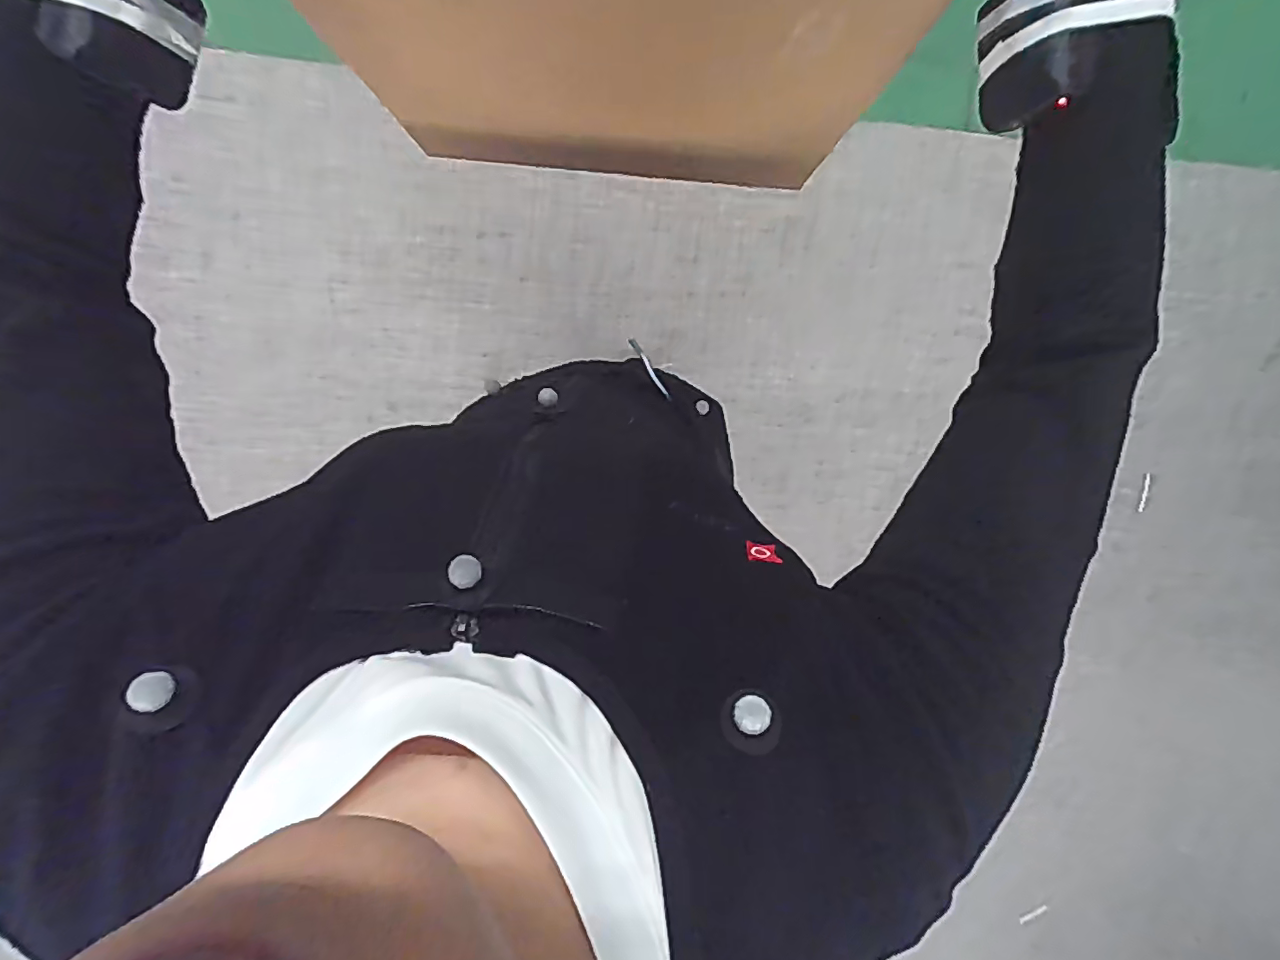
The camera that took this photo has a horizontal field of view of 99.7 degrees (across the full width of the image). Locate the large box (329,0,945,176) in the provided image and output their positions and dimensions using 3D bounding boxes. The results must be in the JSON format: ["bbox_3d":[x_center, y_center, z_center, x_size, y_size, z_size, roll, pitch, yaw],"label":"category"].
[{"bbox_3d":[-0.006,-0.463,0.410,0.408,0.320,0.320,3,100,-2],"label":"large box"}]
